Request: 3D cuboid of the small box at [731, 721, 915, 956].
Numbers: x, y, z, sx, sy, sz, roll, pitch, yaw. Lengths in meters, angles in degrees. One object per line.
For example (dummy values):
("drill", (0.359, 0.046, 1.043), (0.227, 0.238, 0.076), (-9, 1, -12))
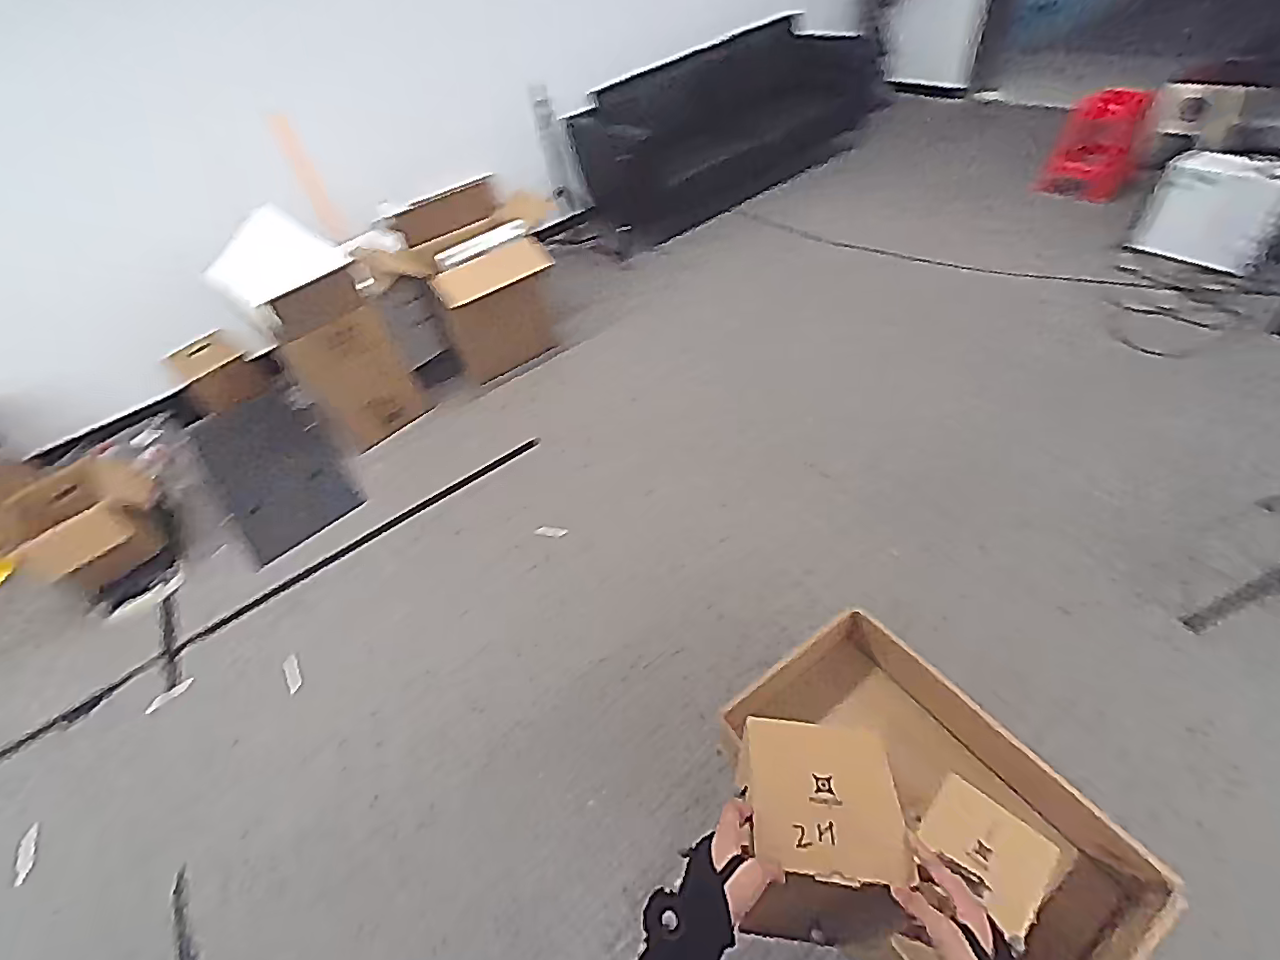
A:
("small box", (0.201, 0.428, 0.656), (0.168, 0.176, 0.179), (3, 33, 5))
